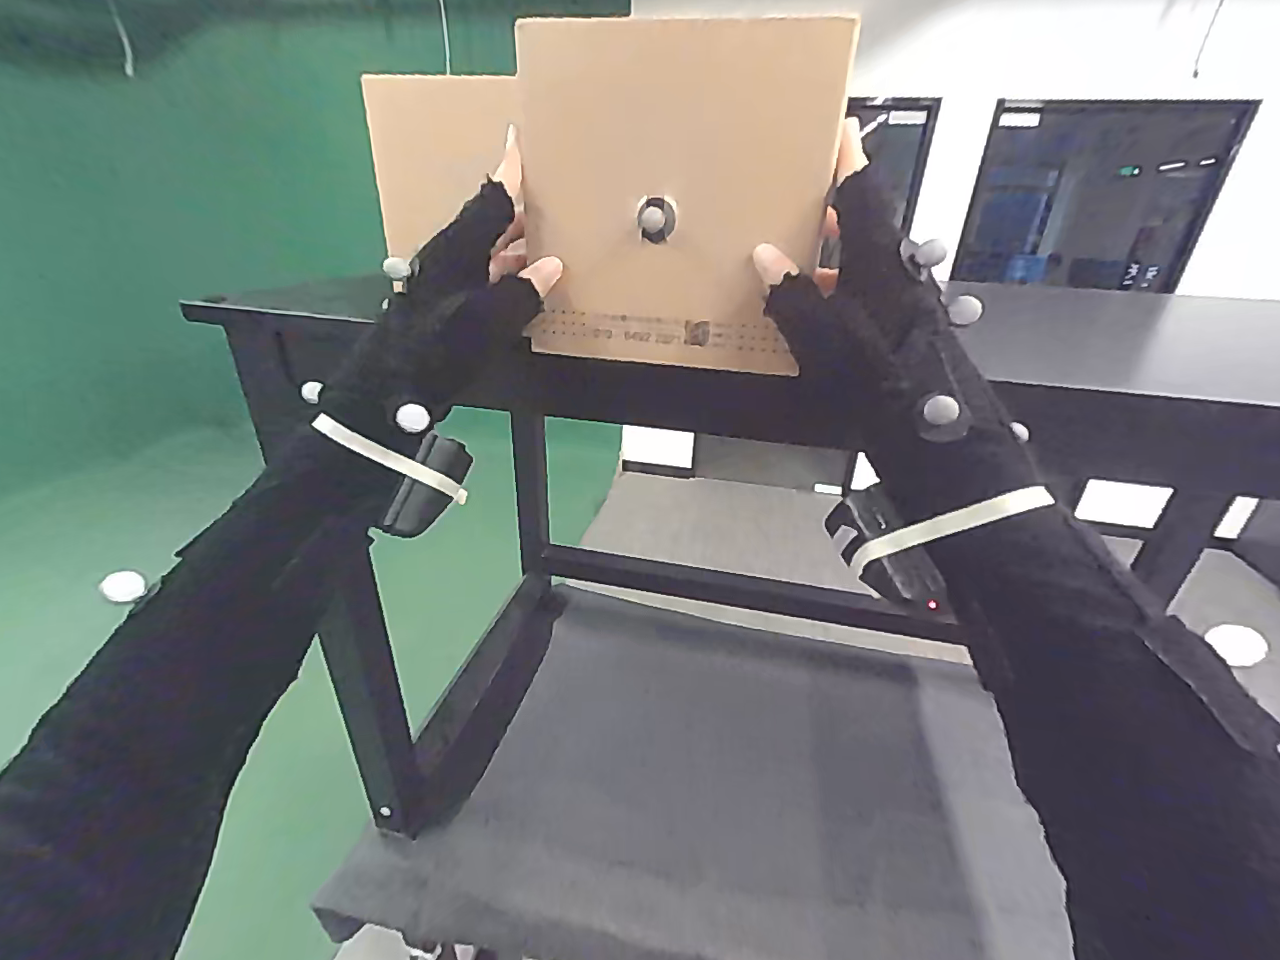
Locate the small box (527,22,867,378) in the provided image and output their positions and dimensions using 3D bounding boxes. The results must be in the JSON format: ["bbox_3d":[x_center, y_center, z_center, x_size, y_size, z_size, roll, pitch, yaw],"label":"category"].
[{"bbox_3d":[0.038,-0.174,0.362,0.168,0.176,0.179,8,27,9],"label":"small box"}]
